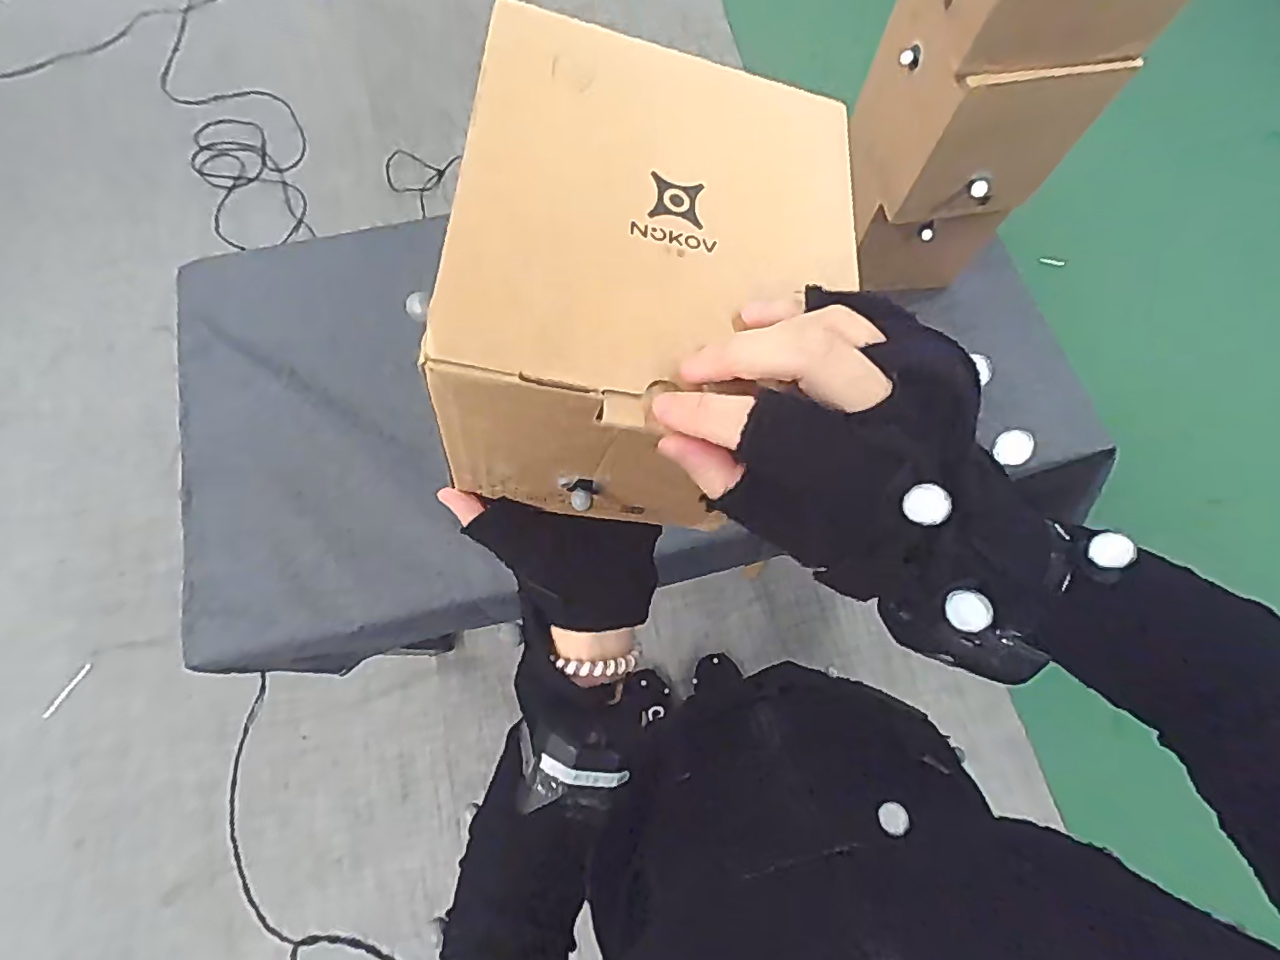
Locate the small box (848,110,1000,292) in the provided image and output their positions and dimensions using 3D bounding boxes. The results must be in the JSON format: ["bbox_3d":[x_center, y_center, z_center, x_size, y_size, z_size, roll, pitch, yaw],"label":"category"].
[{"bbox_3d":[0.369,-0.379,0.750,0.179,0.176,0.168,-1,72,0],"label":"small box"}]

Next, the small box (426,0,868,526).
[{"bbox_3d":[-0.006,-0.084,0.289,0.168,0.176,0.179,8,72,-12],"label":"small box"}]

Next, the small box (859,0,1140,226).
[{"bbox_3d":[0.362,-0.413,0.589,0.168,0.176,0.179,-8,72,-1],"label":"small box"}]

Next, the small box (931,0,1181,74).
[{"bbox_3d":[0.356,-0.466,0.435,0.179,0.176,0.168,-5,72,-1],"label":"small box"}]
